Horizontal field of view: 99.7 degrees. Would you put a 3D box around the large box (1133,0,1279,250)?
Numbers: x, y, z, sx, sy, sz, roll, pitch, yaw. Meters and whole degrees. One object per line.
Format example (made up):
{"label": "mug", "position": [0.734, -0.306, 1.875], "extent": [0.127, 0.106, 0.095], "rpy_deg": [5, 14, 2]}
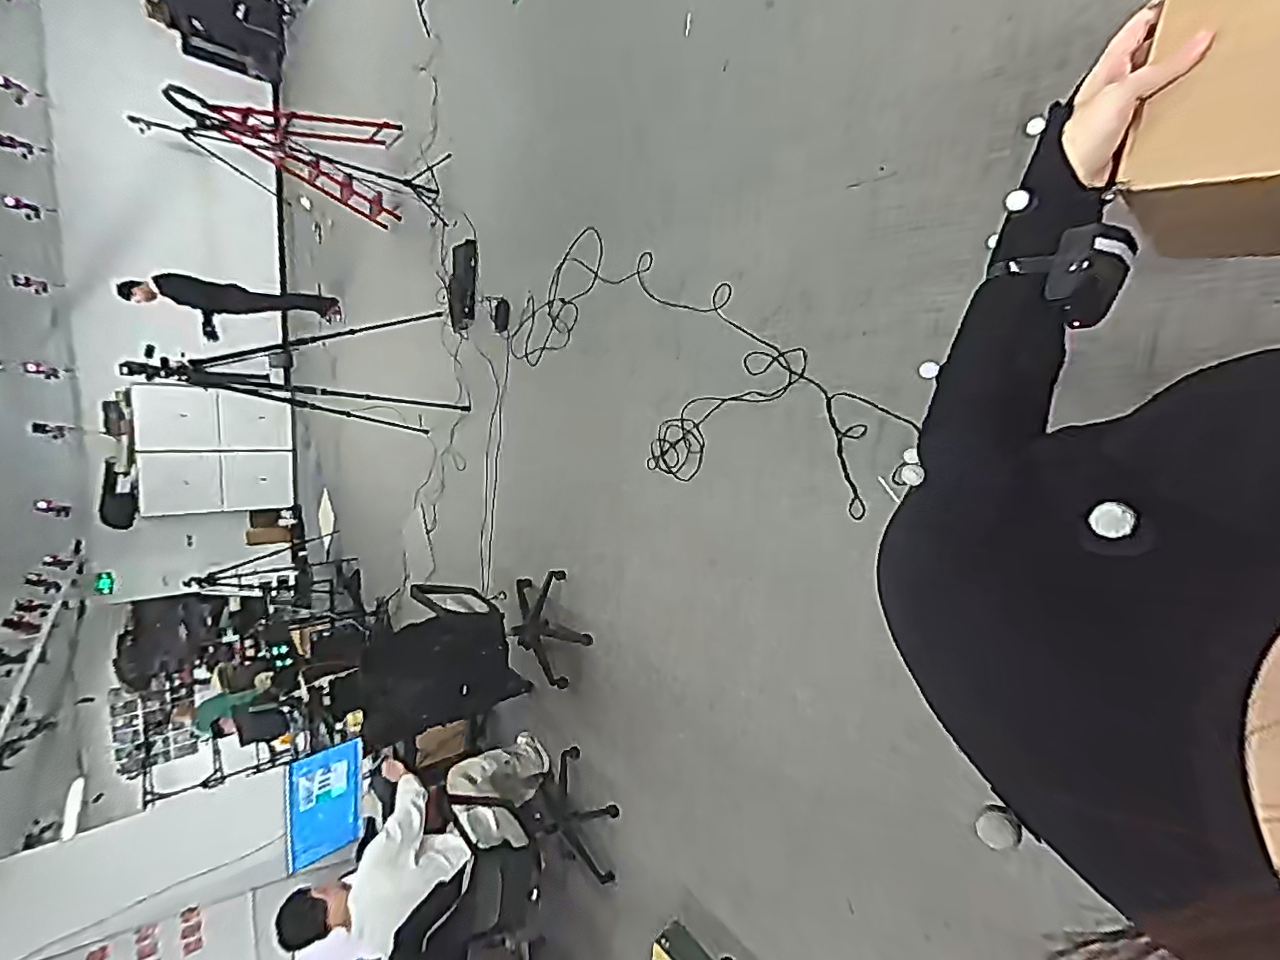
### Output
{"label": "large box", "position": [0.631, -0.353, 0.345], "extent": [0.408, 0.320, 0.320], "rpy_deg": [19, 110, 45]}
